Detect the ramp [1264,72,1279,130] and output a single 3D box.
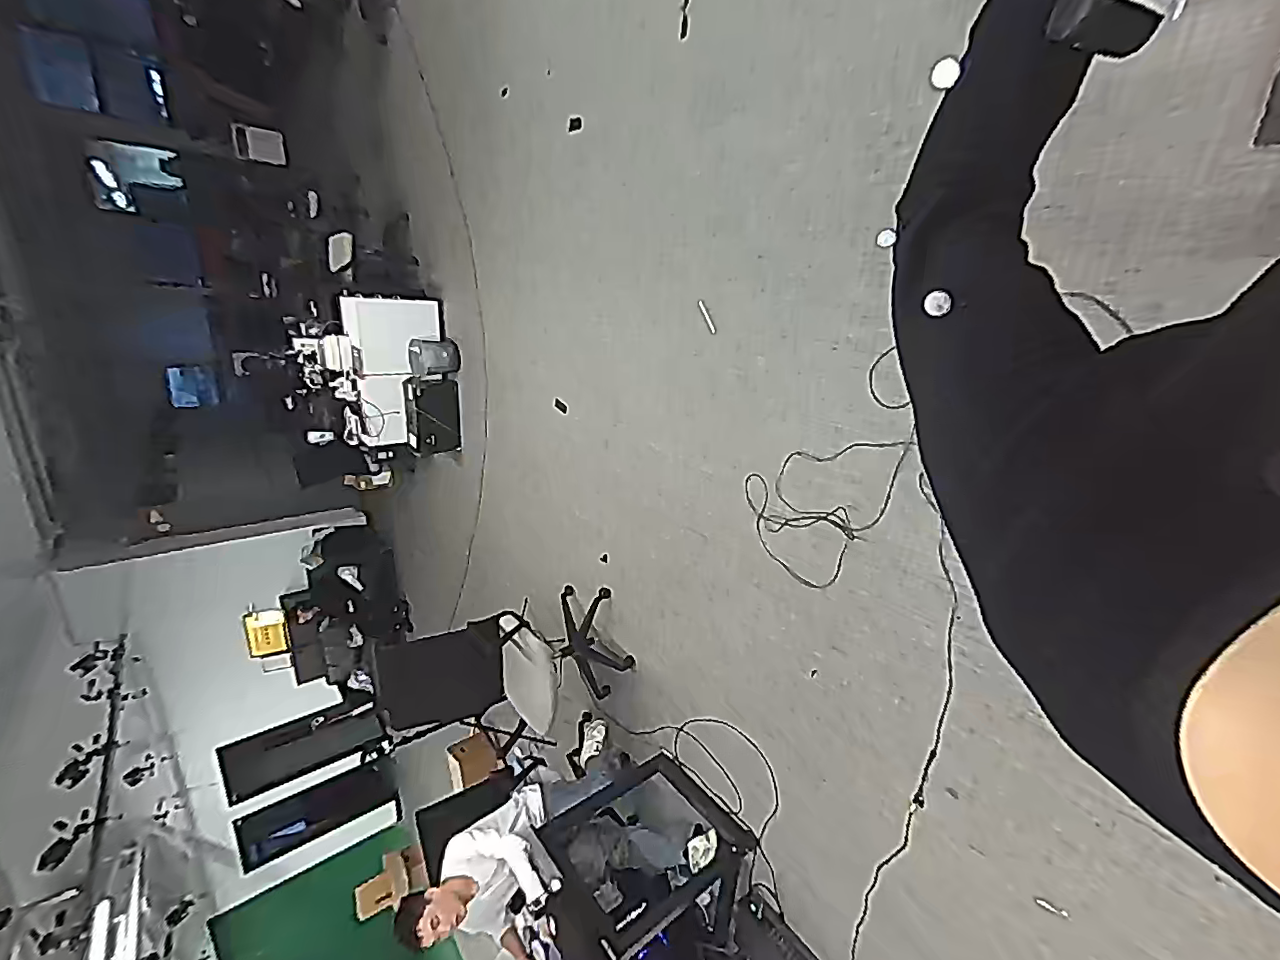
[{"bbox_3d":[1.191,-0.989,0.555,0.509,0.206,0.991,21,116,46],"label":"ramp"}]
